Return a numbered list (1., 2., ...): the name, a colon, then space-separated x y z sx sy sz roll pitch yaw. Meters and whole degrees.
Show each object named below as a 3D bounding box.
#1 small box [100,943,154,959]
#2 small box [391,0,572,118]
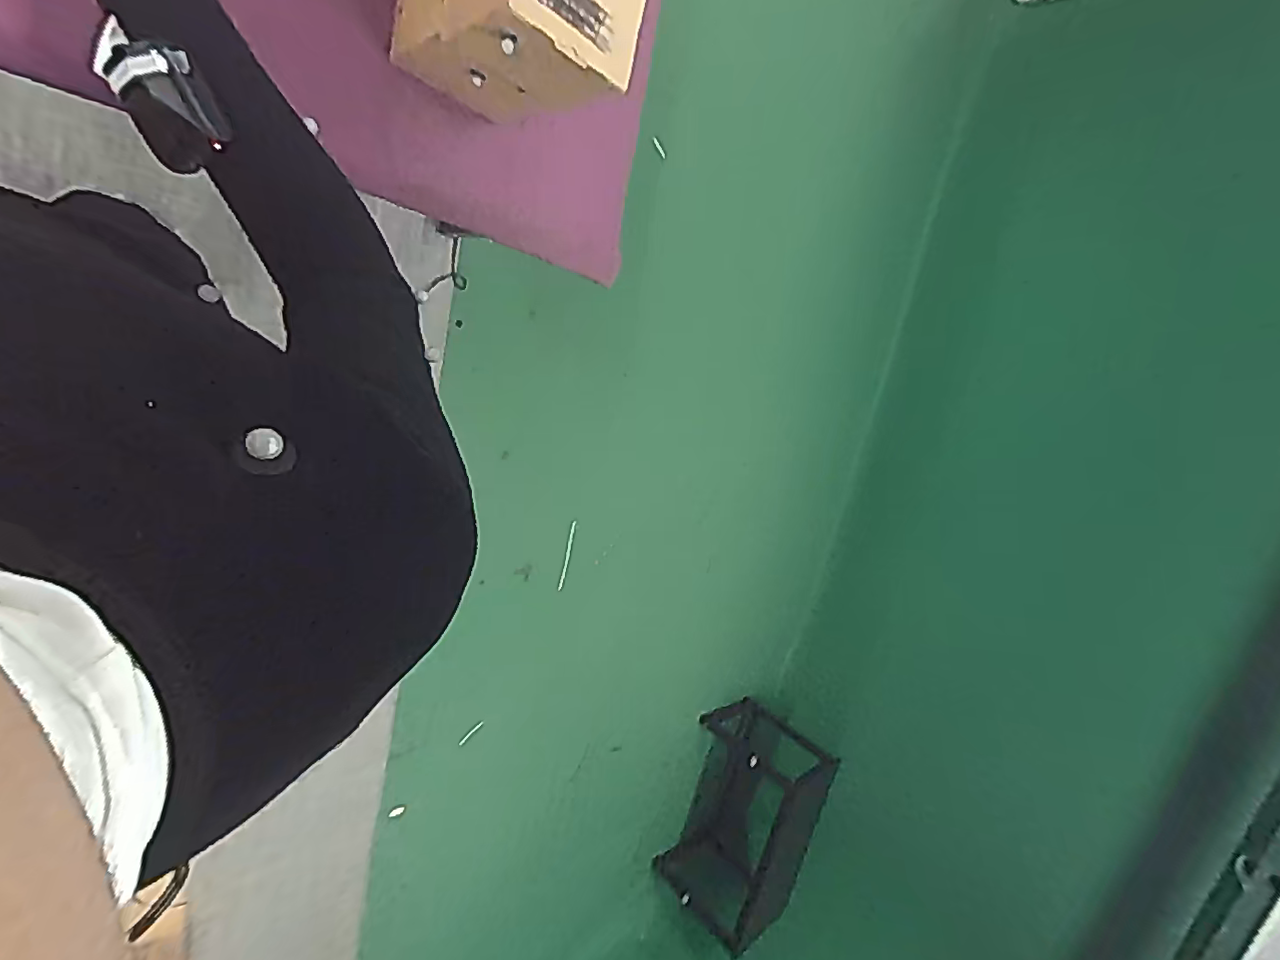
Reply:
1. small box: -1.480 1.456 1.499 0.179 0.176 0.168 12 99 -47
2. small box: -0.222 -0.634 0.750 0.179 0.176 0.168 2 107 -46
